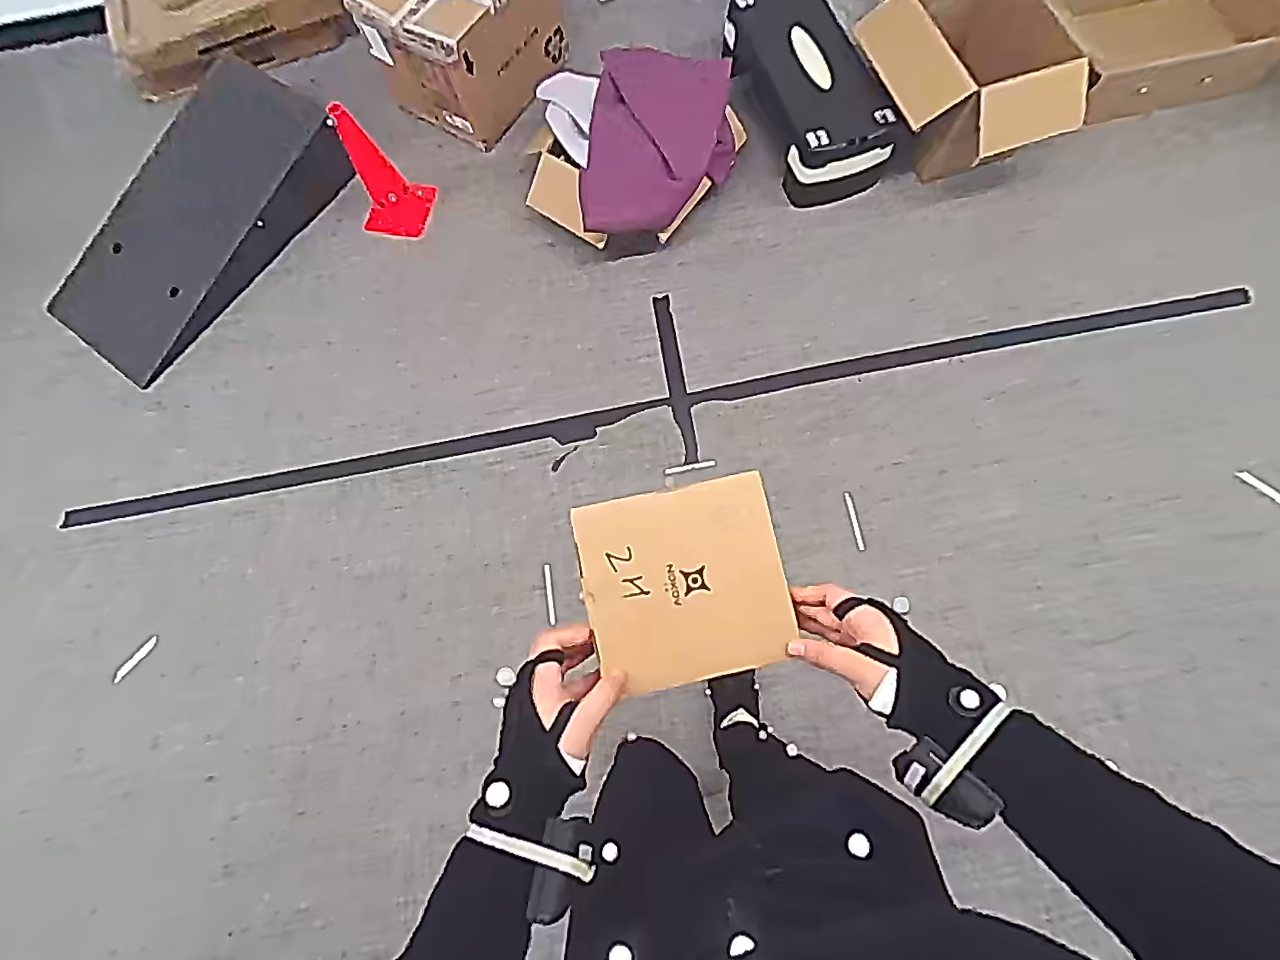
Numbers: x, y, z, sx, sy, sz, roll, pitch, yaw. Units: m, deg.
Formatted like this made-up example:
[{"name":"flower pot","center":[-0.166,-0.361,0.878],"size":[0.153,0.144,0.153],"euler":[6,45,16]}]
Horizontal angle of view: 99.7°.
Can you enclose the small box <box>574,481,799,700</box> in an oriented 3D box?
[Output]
[{"name":"small box","center":[0.037,0.105,0.554],"size":[0.179,0.176,0.168],"euler":[-11,81,-3]}]
